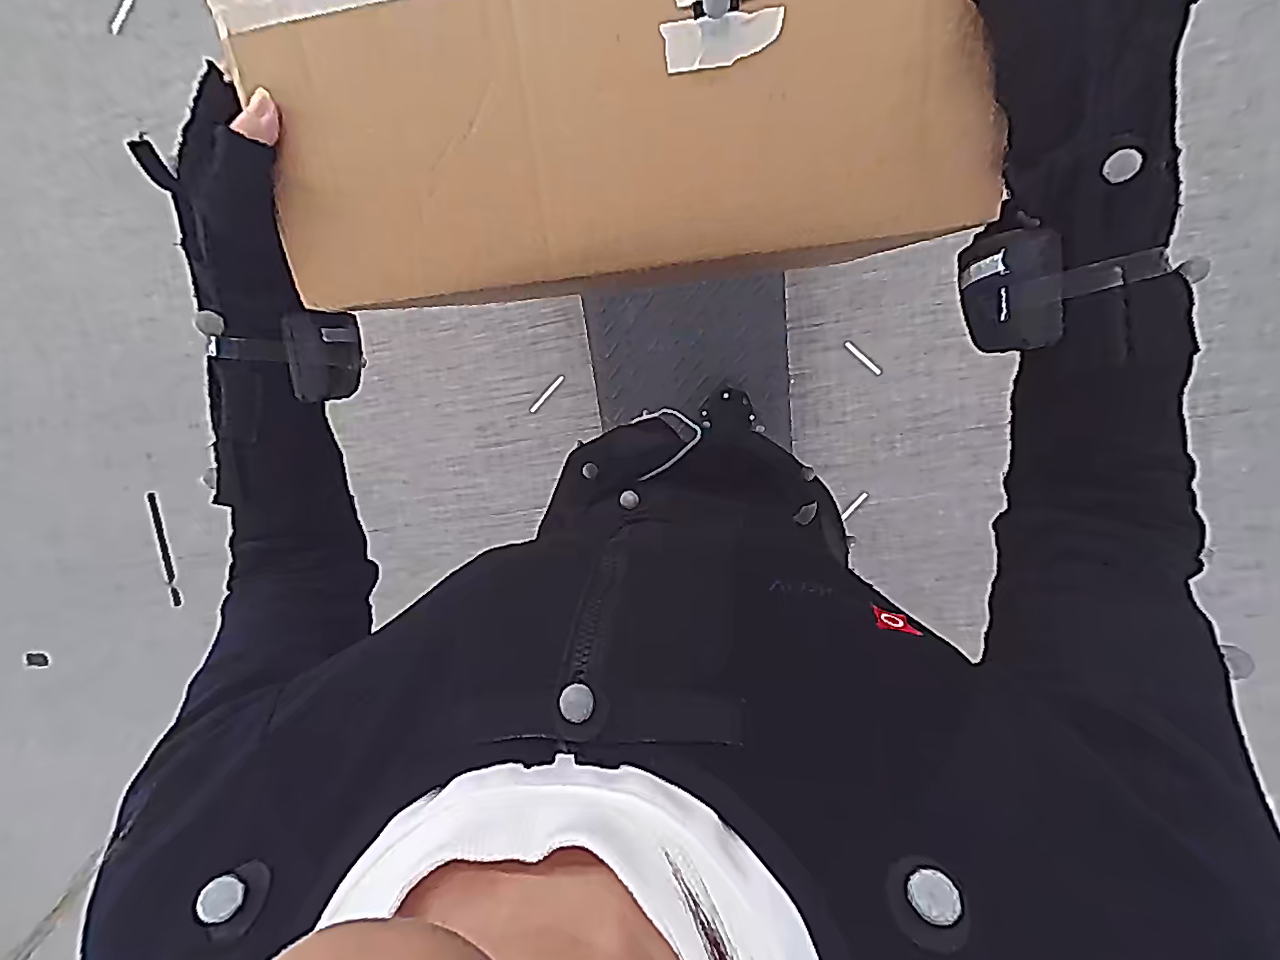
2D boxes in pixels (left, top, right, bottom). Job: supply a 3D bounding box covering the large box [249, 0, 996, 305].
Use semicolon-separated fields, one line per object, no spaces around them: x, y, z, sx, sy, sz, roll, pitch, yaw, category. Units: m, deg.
-0.010;-0.324;0.419;0.408;0.320;0.320;-5;109;9;large box
